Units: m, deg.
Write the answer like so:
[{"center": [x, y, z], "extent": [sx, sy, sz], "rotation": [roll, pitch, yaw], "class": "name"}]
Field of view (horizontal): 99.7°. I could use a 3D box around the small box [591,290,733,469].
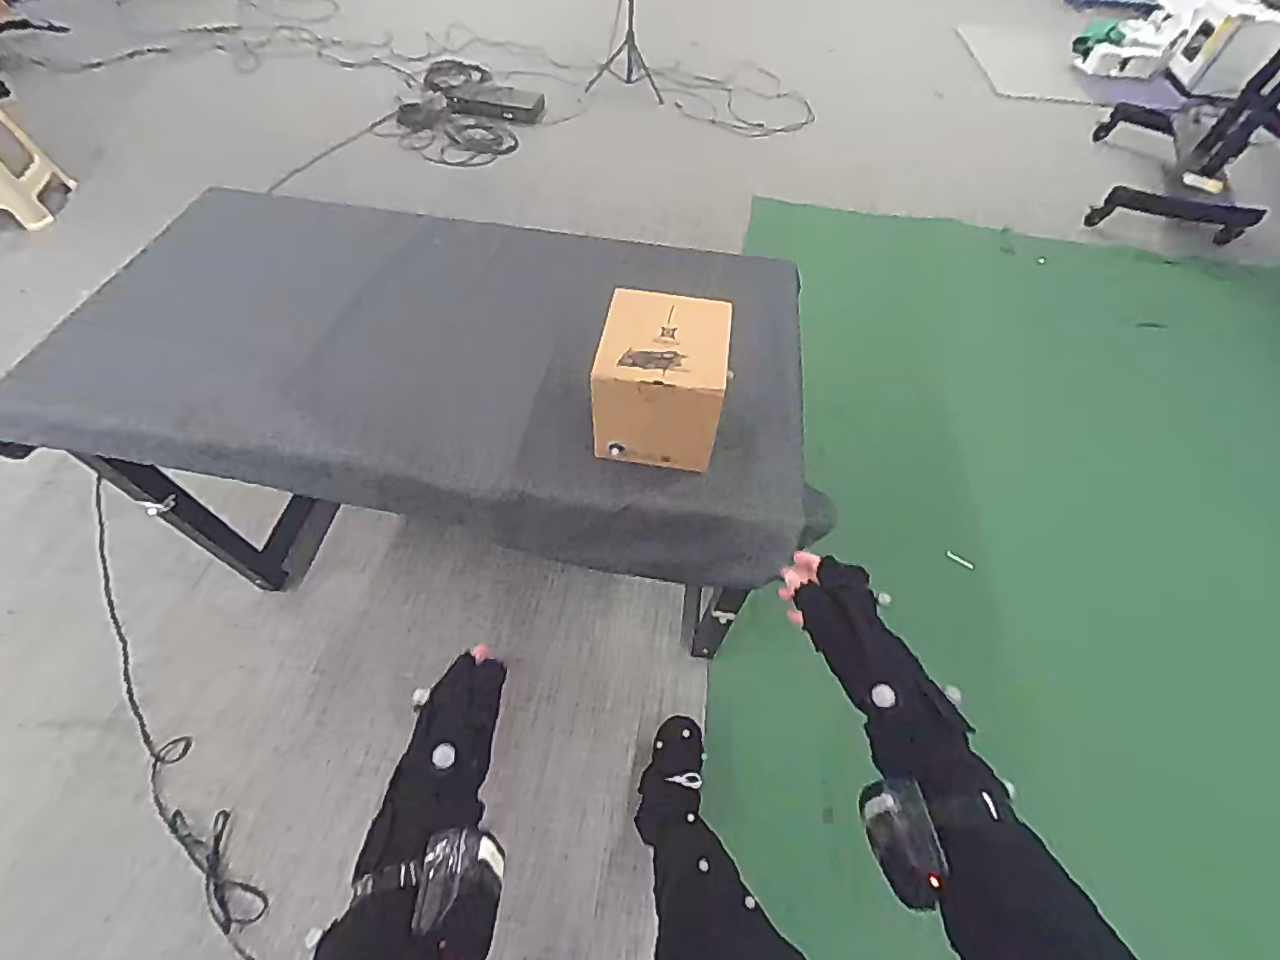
[{"center": [0.031, -0.136, 0.762], "extent": [0.168, 0.176, 0.179], "rotation": [9, 55, 3], "class": "small box"}]
